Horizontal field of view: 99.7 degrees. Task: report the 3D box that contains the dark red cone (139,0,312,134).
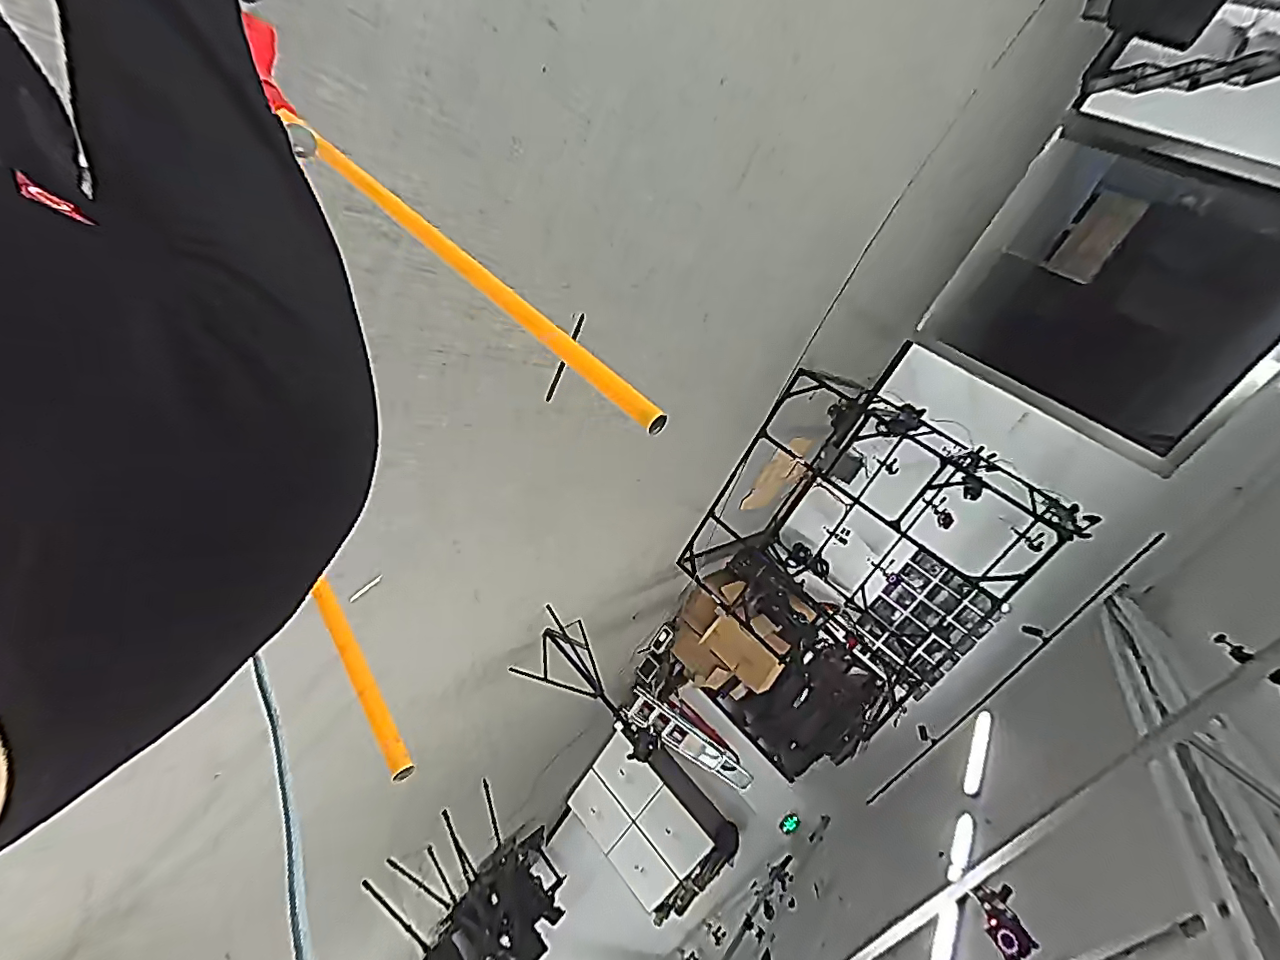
[{"bbox_3d":[-0.670,-0.679,0.923,0.201,0.394,0.202,-10,135,-56],"label":"dark red cone"}]
